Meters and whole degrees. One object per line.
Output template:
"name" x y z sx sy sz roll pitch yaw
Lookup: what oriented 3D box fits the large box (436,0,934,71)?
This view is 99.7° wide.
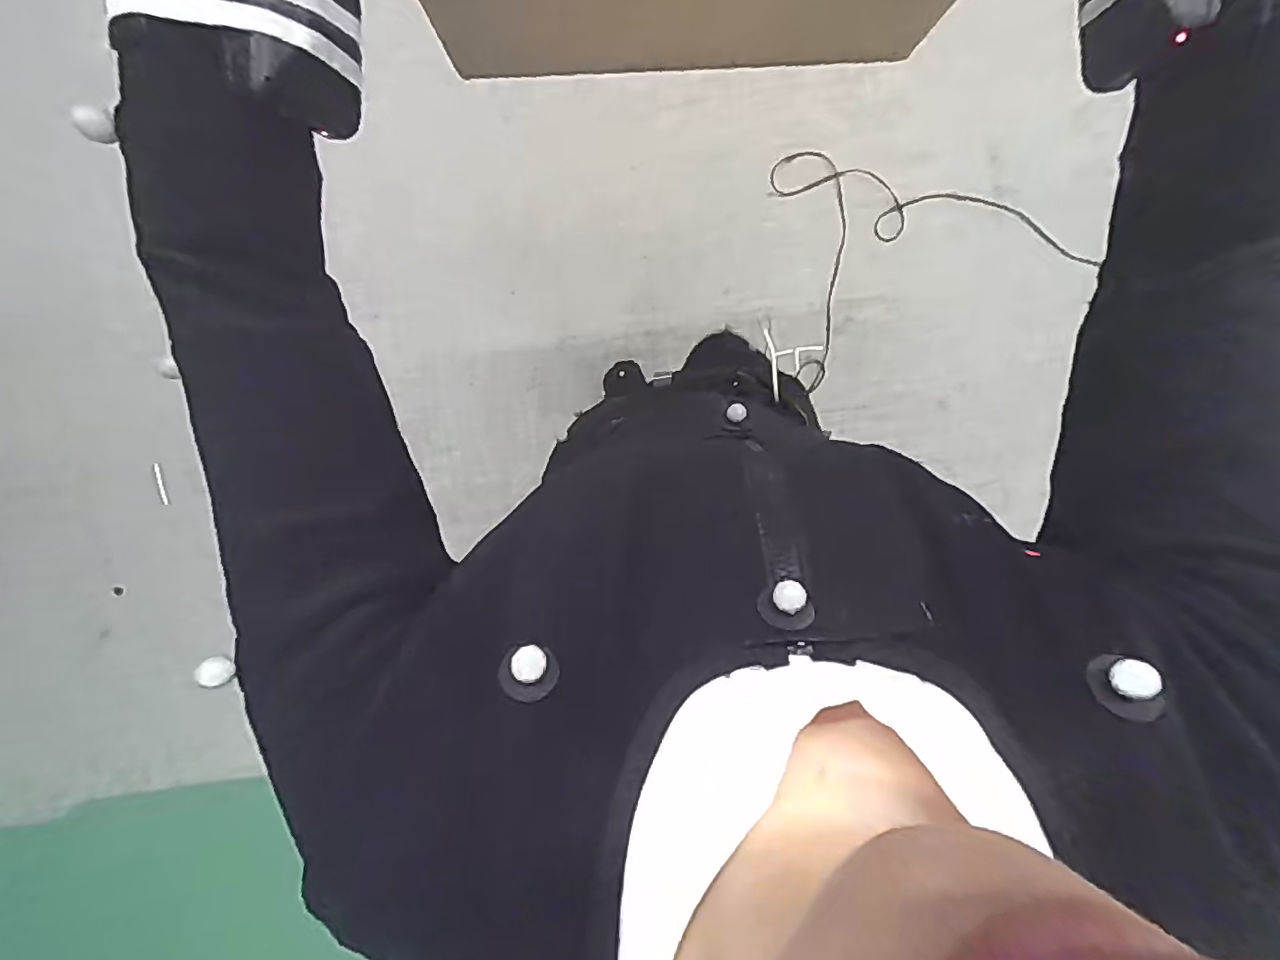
"large box" 0.037 -0.502 0.316 0.408 0.320 0.320 -4 100 -3
